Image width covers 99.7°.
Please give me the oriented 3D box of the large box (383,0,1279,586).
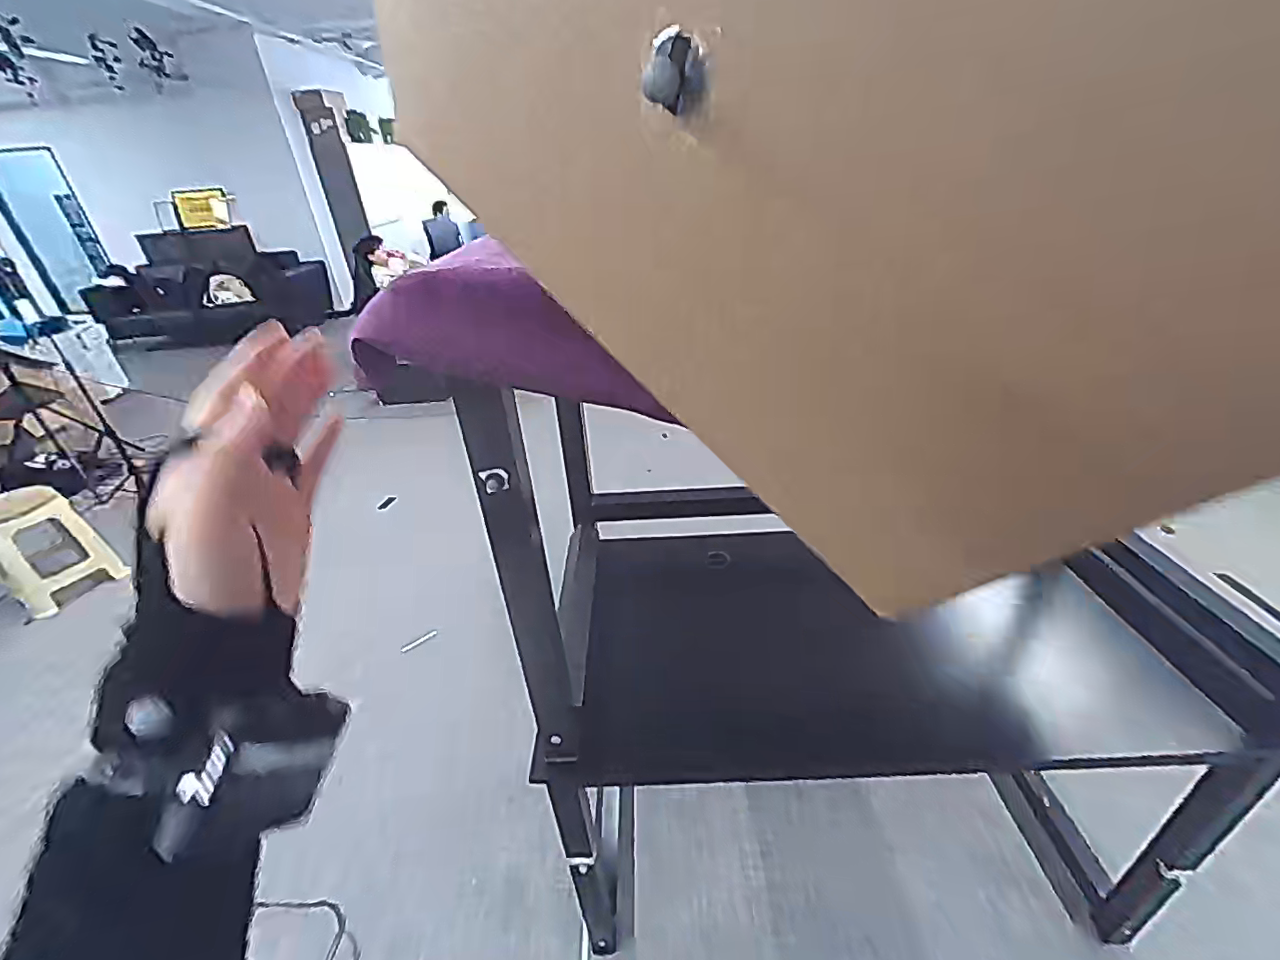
[{"bbox_3d":[0.119,-0.228,0.246,0.320,0.320,0.408,-38,76,-28],"label":"large box"}]
